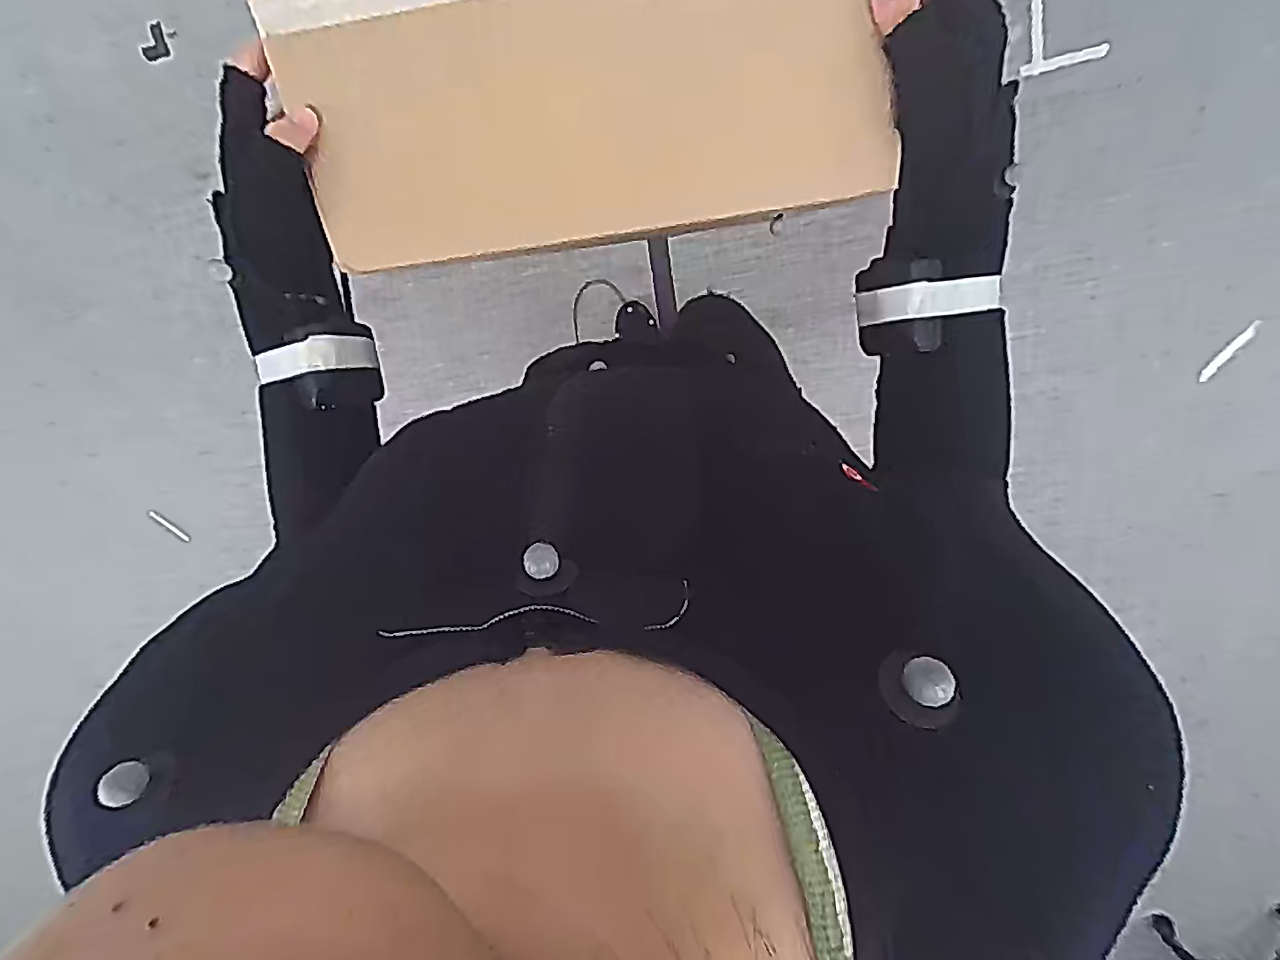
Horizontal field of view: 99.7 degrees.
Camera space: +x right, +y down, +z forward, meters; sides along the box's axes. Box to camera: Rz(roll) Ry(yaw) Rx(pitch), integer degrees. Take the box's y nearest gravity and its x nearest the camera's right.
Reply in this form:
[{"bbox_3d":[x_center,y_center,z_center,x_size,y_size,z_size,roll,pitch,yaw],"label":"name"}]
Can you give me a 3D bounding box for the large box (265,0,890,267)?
[{"bbox_3d":[-0.039,-0.385,0.470,0.408,0.320,0.320,-6,113,5],"label":"large box"}]
